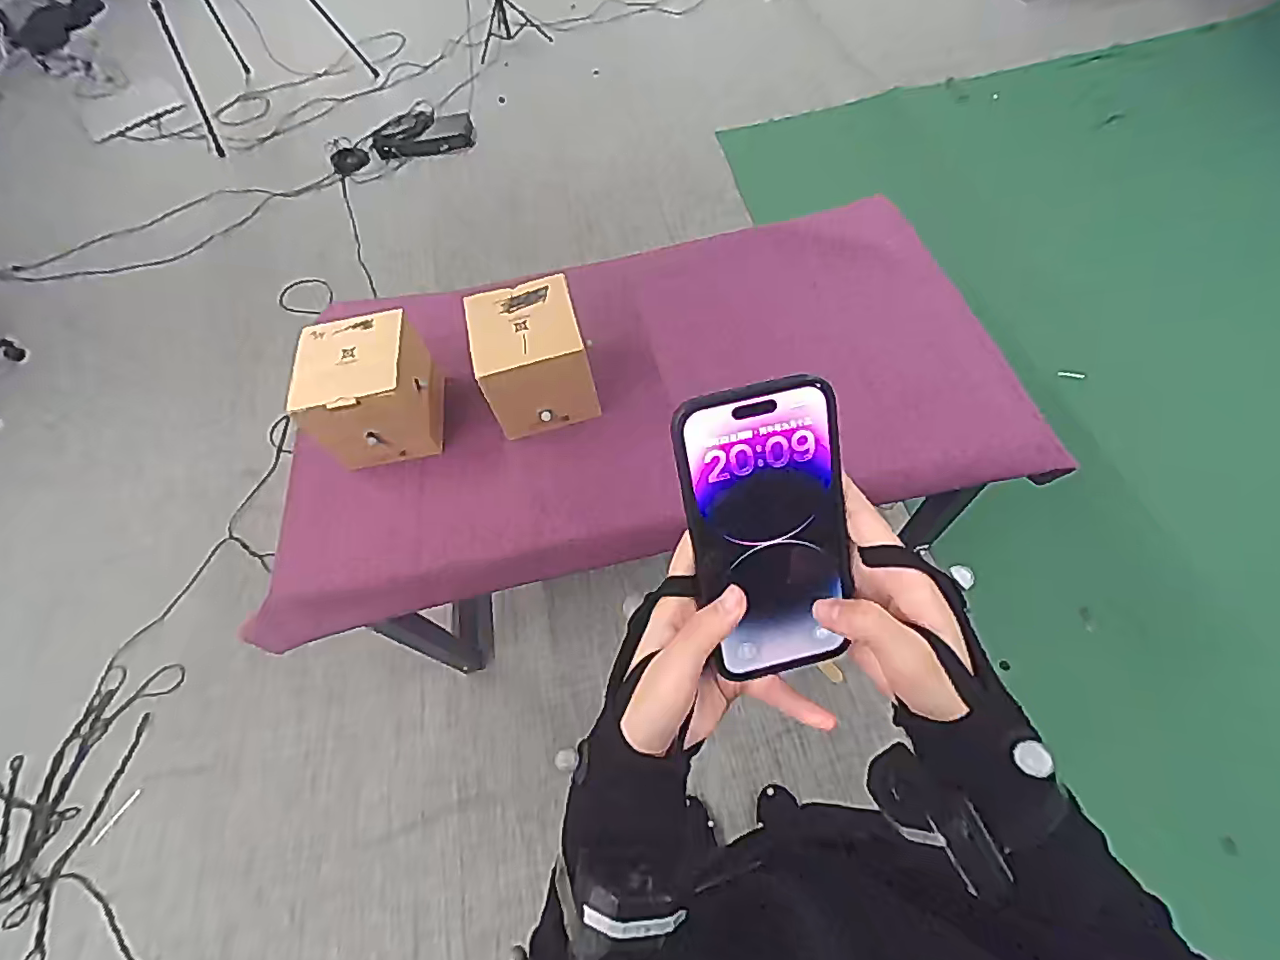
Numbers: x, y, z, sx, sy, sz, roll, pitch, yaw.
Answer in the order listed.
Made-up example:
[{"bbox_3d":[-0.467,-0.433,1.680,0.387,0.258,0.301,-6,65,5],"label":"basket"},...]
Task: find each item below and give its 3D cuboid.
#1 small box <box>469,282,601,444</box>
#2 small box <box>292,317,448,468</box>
[{"bbox_3d":[-0.170,-0.189,0.897,0.168,0.176,0.179,-16,60,-2],"label":"small box"},{"bbox_3d":[-0.432,-0.134,0.897,0.168,0.176,0.179,-11,60,1],"label":"small box"}]
